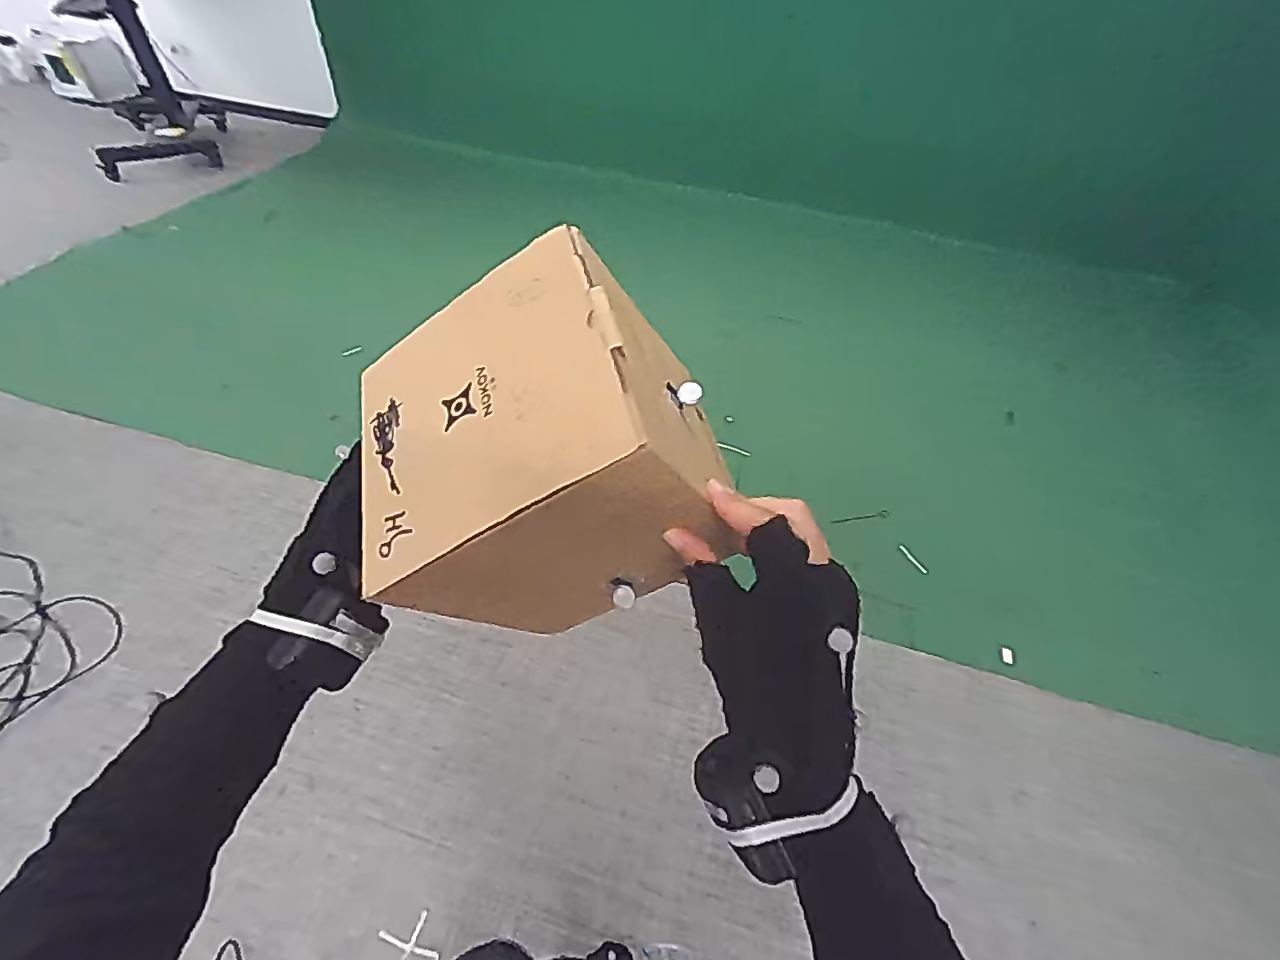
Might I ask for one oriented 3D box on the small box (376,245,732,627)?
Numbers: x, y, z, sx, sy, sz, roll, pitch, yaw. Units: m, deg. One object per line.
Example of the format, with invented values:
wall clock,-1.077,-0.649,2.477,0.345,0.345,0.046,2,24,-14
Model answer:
small box,-0.051,-0.012,0.376,0.179,0.176,0.168,-27,58,17
